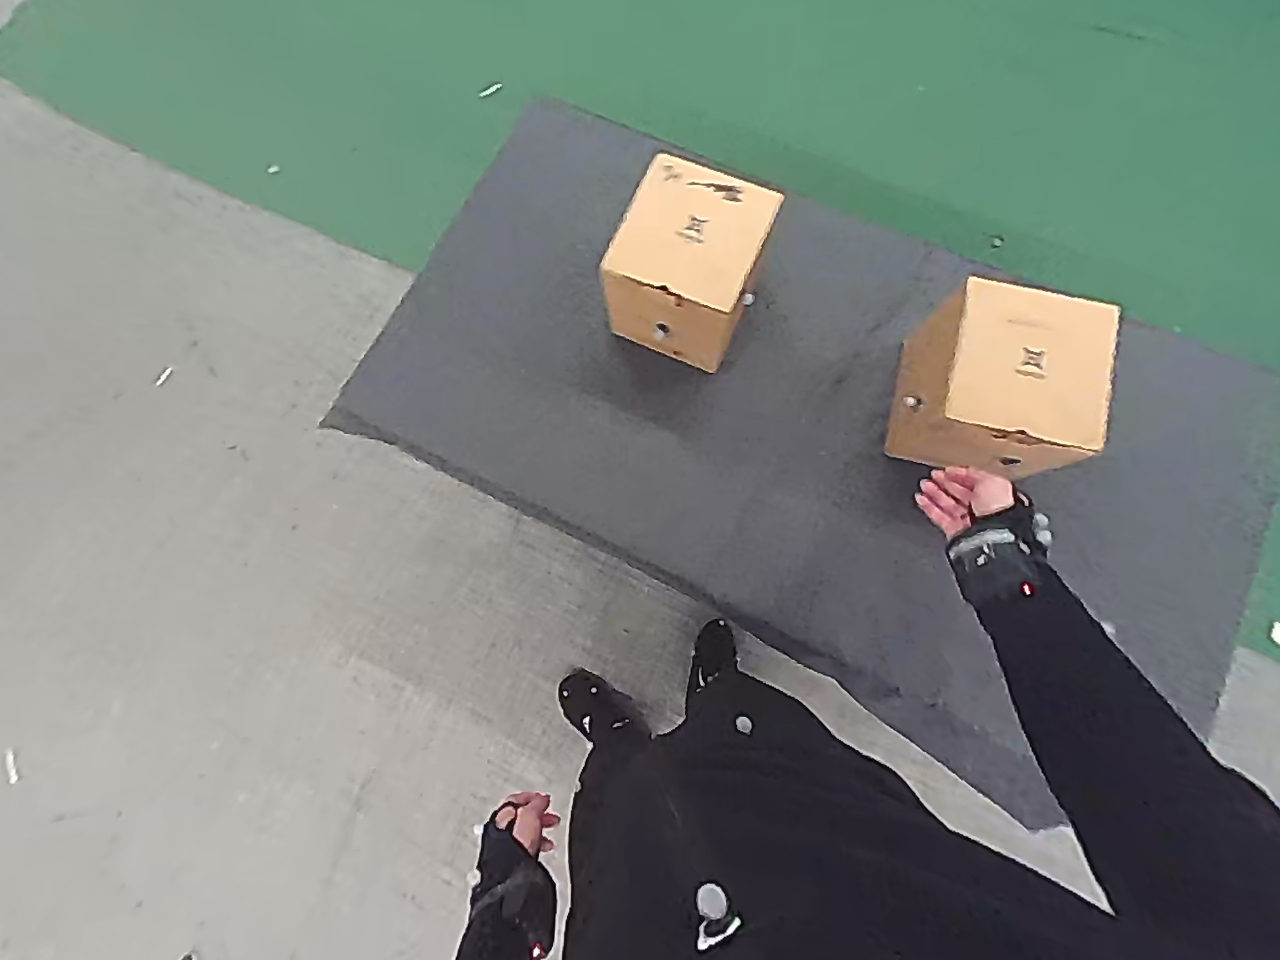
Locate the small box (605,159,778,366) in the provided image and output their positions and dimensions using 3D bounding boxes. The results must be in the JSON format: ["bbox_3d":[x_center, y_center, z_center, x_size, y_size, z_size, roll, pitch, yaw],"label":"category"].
[{"bbox_3d":[0.070,-0.280,0.730,0.168,0.176,0.179,20,79,9],"label":"small box"}]

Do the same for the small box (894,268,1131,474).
[{"bbox_3d":[0.434,-0.118,0.657,0.168,0.176,0.179,15,79,3],"label":"small box"}]
